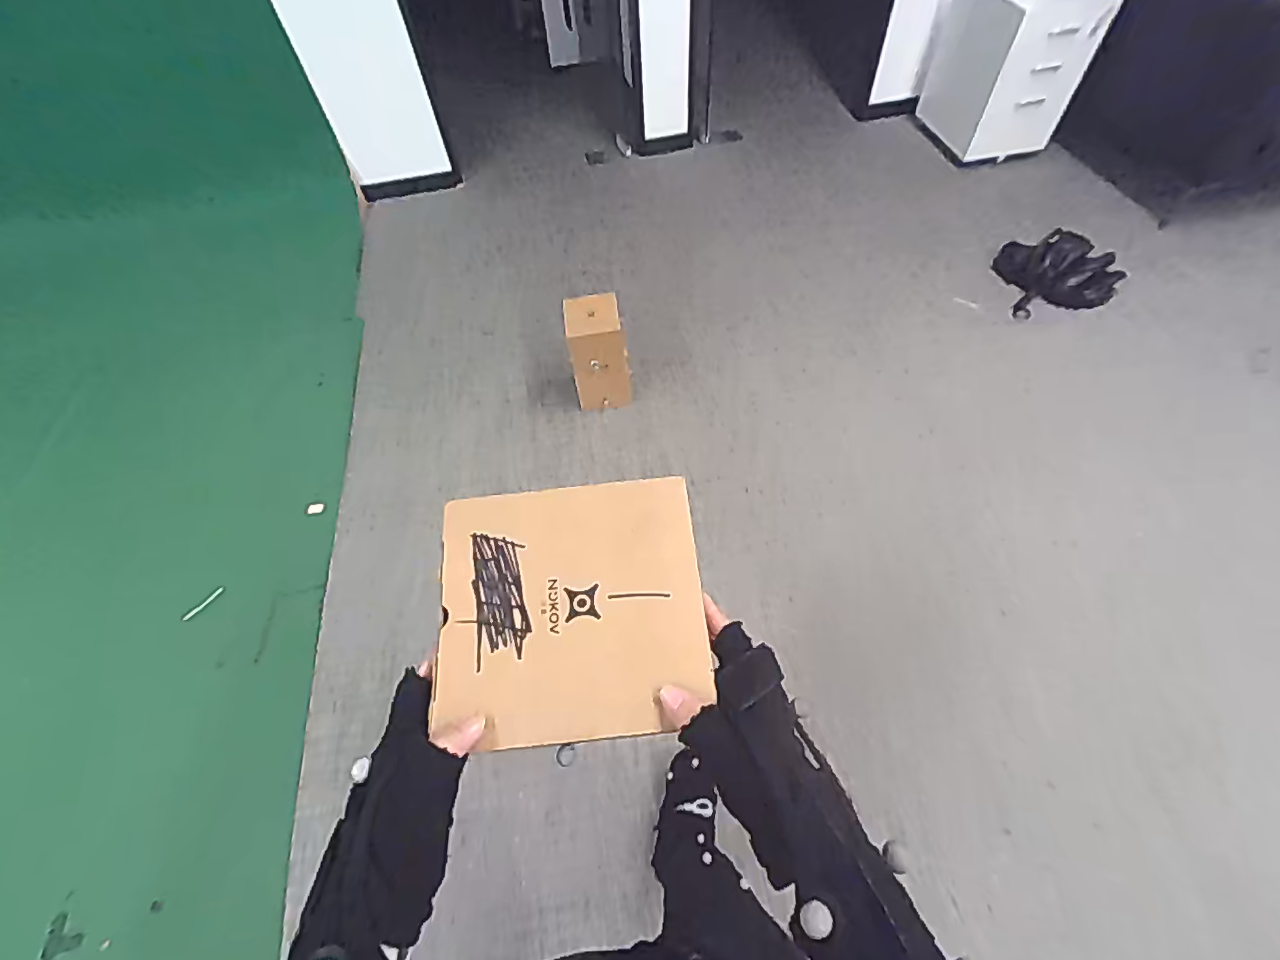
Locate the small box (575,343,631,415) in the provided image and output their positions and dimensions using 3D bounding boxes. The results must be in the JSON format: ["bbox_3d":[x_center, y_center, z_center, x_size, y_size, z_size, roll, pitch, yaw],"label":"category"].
[{"bbox_3d":[-0.126,-0.343,1.840,0.179,0.176,0.168,-8,55,-1],"label":"small box"}]

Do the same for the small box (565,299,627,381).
[{"bbox_3d":[-0.139,-0.439,1.710,0.168,0.176,0.179,-10,56,0],"label":"small box"}]

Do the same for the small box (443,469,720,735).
[{"bbox_3d":[-0.039,0.108,0.437,0.179,0.176,0.168,-7,65,-1],"label":"small box"}]
